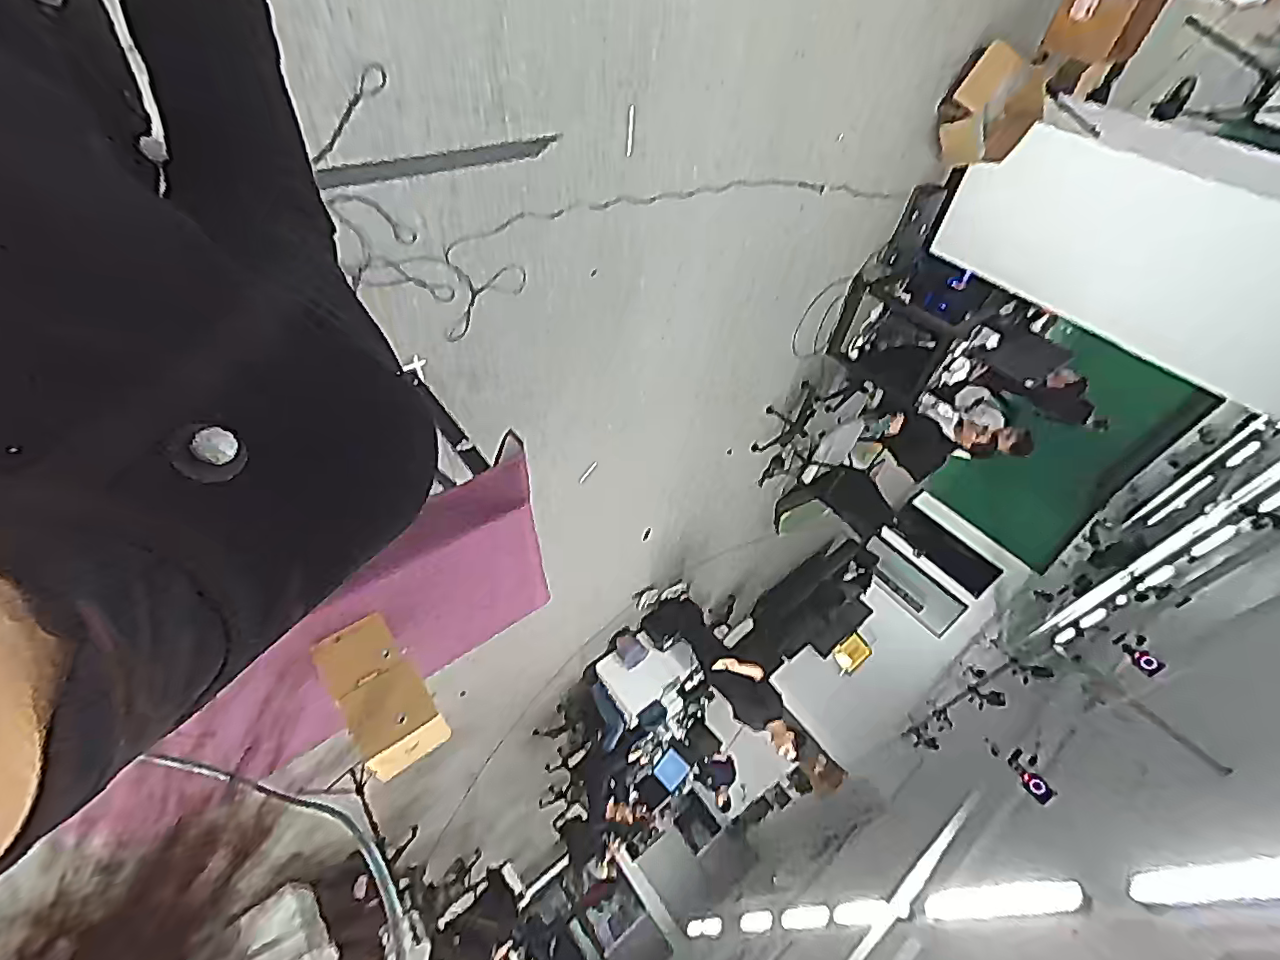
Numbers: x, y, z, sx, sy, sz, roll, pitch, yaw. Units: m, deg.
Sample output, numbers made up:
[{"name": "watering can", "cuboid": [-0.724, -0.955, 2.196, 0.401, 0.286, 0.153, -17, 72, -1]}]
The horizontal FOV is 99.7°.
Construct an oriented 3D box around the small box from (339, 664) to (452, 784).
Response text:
[{"name": "small box", "cuboid": [-0.576, 0.572, 1.283, 0.179, 0.176, 0.168, -28, 147, -28]}]
